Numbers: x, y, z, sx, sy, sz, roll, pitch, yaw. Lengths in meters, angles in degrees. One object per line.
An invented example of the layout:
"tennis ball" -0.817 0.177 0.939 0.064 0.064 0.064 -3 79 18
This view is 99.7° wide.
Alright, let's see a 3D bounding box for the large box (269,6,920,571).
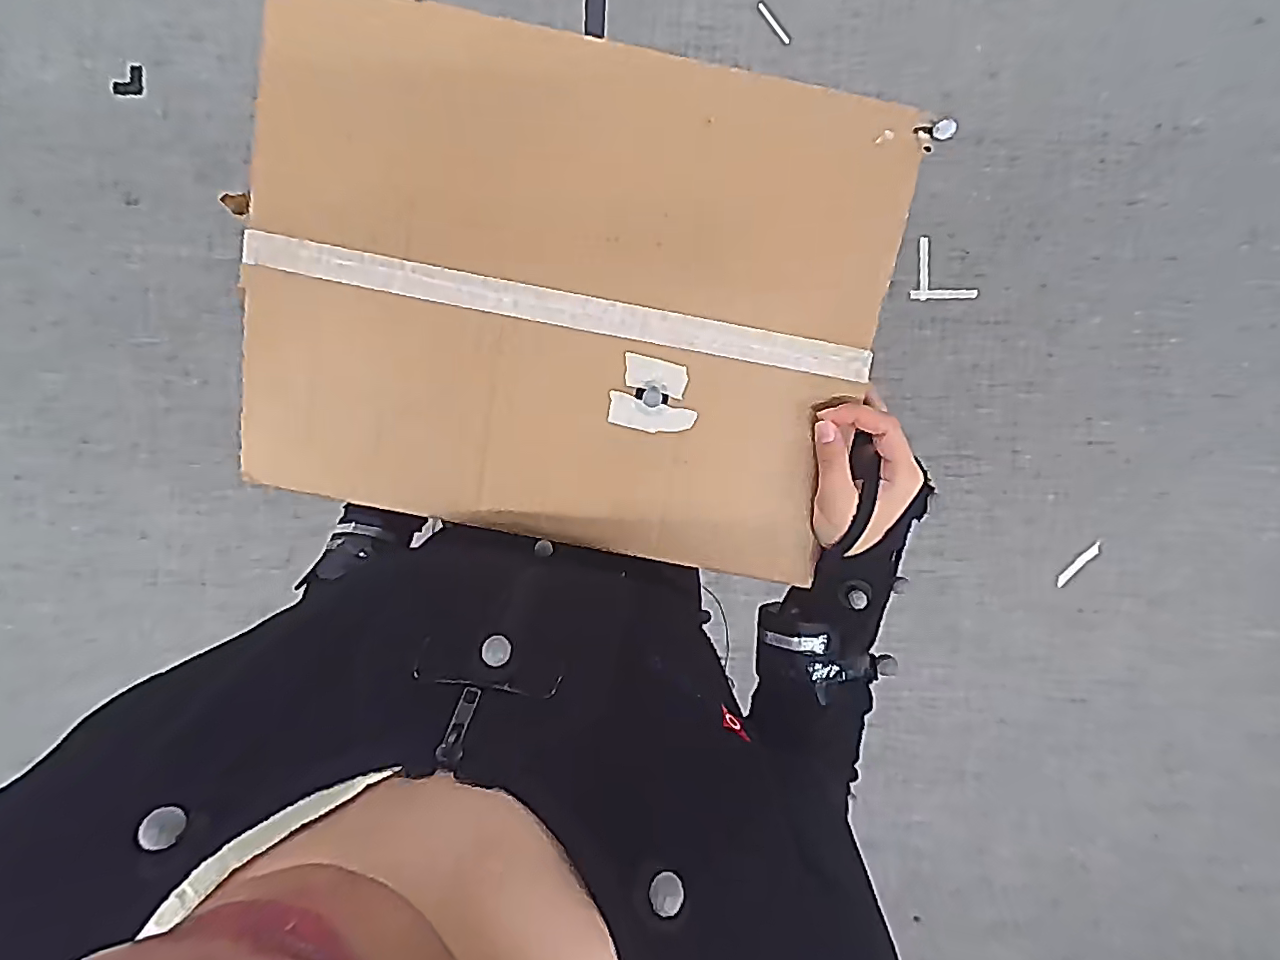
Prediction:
"large box" -0.044 -0.137 0.508 0.408 0.320 0.320 10 101 -3
